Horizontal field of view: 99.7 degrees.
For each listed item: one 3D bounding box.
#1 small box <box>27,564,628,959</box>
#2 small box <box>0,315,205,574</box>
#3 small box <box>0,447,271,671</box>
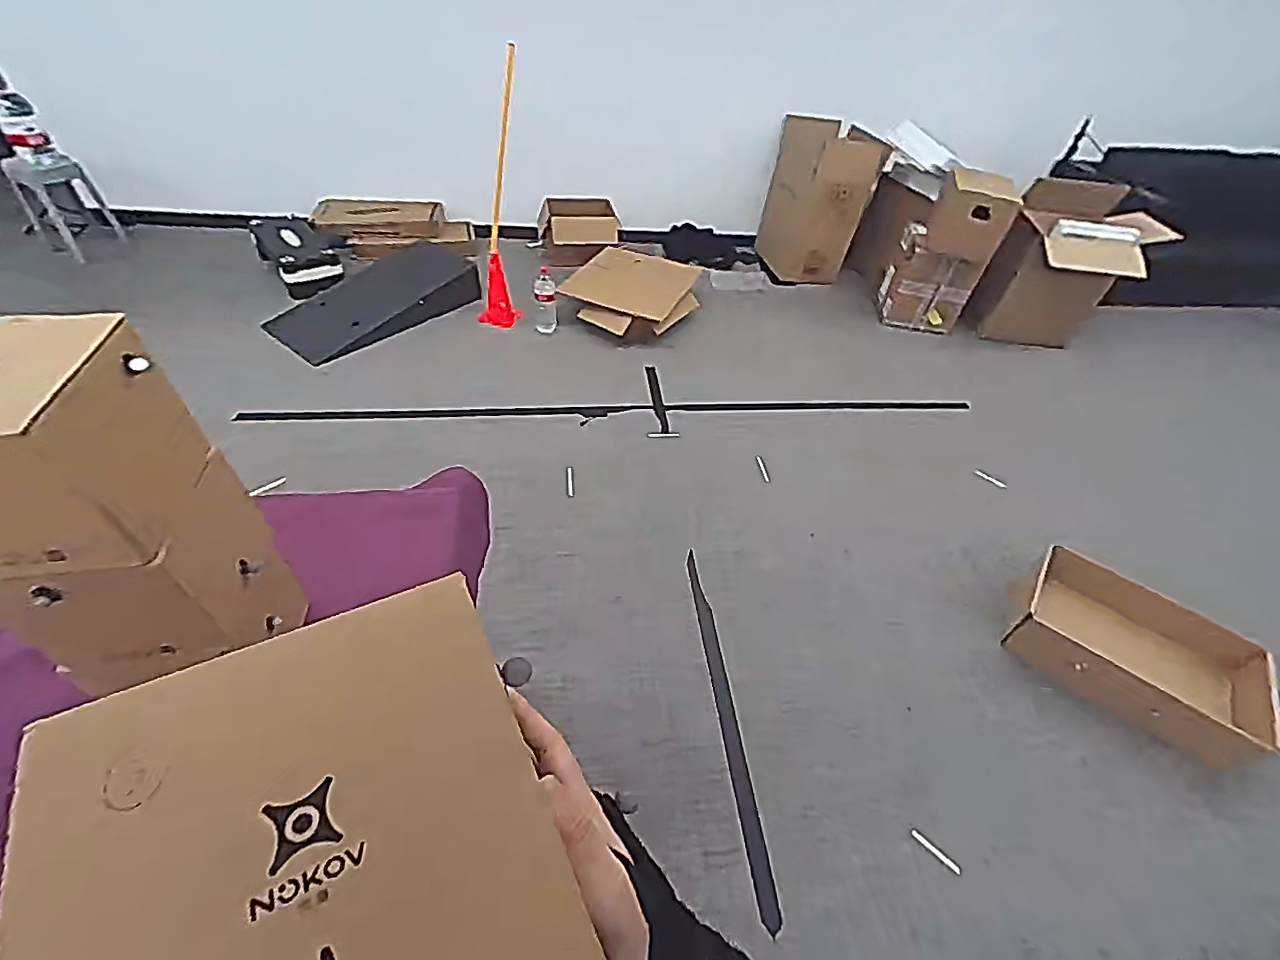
[{"bbox_3d":[-0.124,0.175,0.256,0.168,0.176,0.179,-19,57,-22],"label":"small box"},{"bbox_3d":[-0.545,-0.028,0.491,0.168,0.176,0.179,-5,46,-12],"label":"small box"},{"bbox_3d":[-0.550,0.085,0.608,0.168,0.176,0.179,-6,46,-12],"label":"small box"}]
